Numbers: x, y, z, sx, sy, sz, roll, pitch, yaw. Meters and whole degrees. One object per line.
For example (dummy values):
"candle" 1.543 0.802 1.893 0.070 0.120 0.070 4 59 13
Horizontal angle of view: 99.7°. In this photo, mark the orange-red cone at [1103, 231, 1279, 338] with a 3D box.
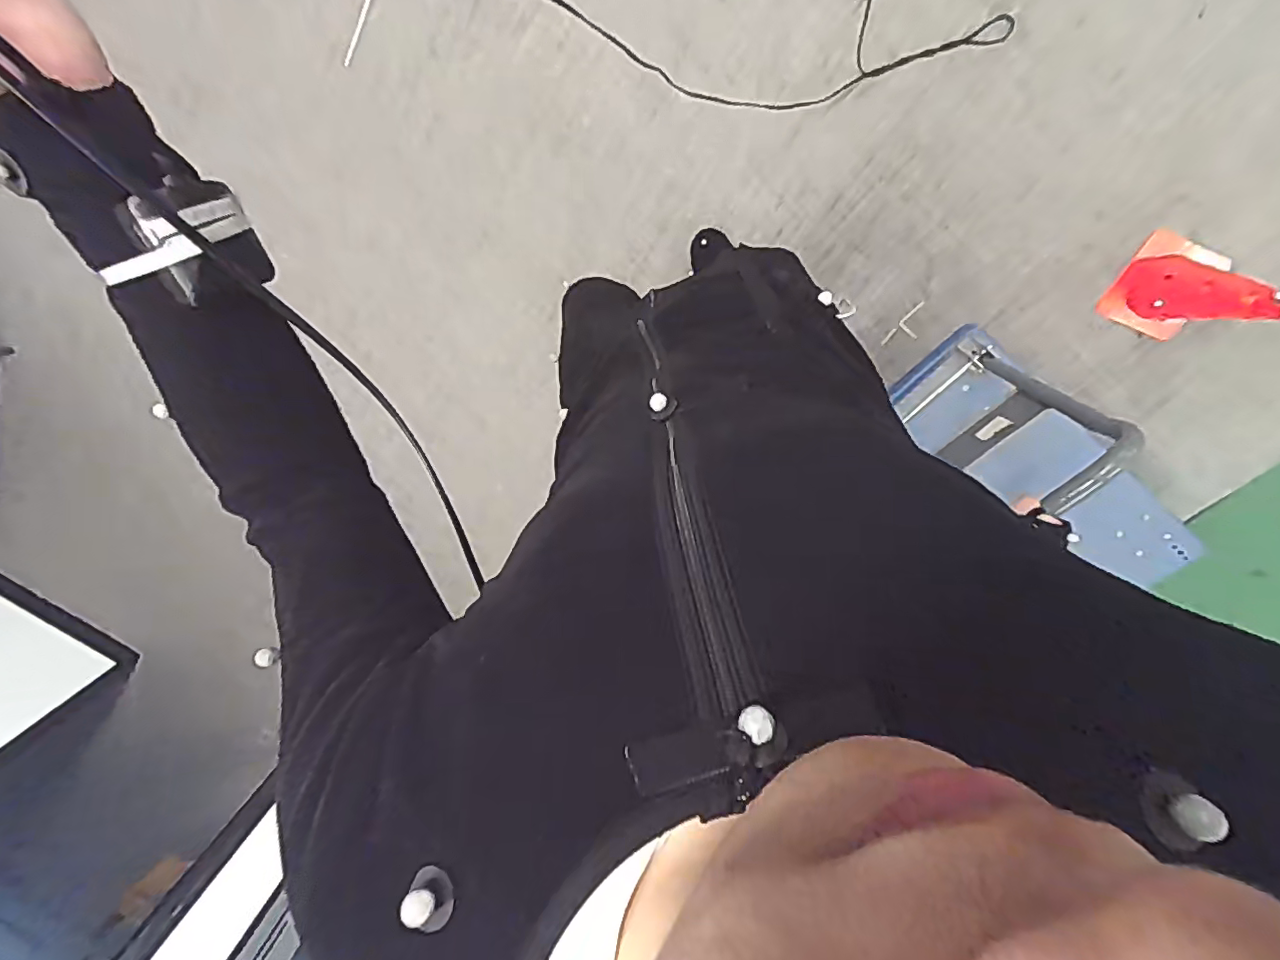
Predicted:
"orange-red cone" 1.208 -0.382 1.116 0.198 0.360 0.199 24 116 -2
